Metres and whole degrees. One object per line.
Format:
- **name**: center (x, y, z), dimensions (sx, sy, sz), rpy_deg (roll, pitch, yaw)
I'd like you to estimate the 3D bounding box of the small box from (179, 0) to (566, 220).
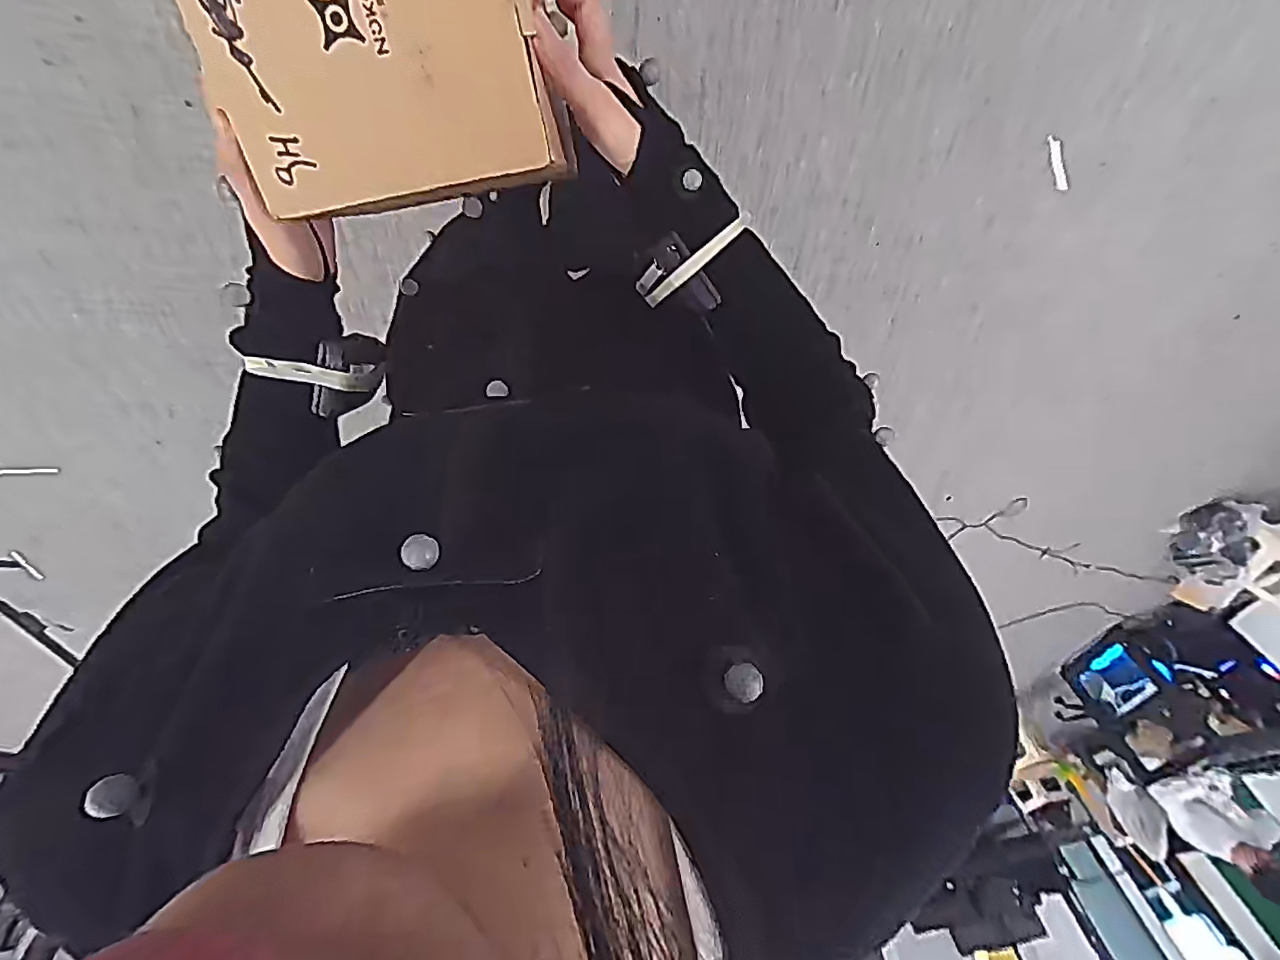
- **small box**: center (-0.149, -0.276, 0.353), dimensions (0.179, 0.176, 0.168), rpy_deg (-9, 116, 3)
